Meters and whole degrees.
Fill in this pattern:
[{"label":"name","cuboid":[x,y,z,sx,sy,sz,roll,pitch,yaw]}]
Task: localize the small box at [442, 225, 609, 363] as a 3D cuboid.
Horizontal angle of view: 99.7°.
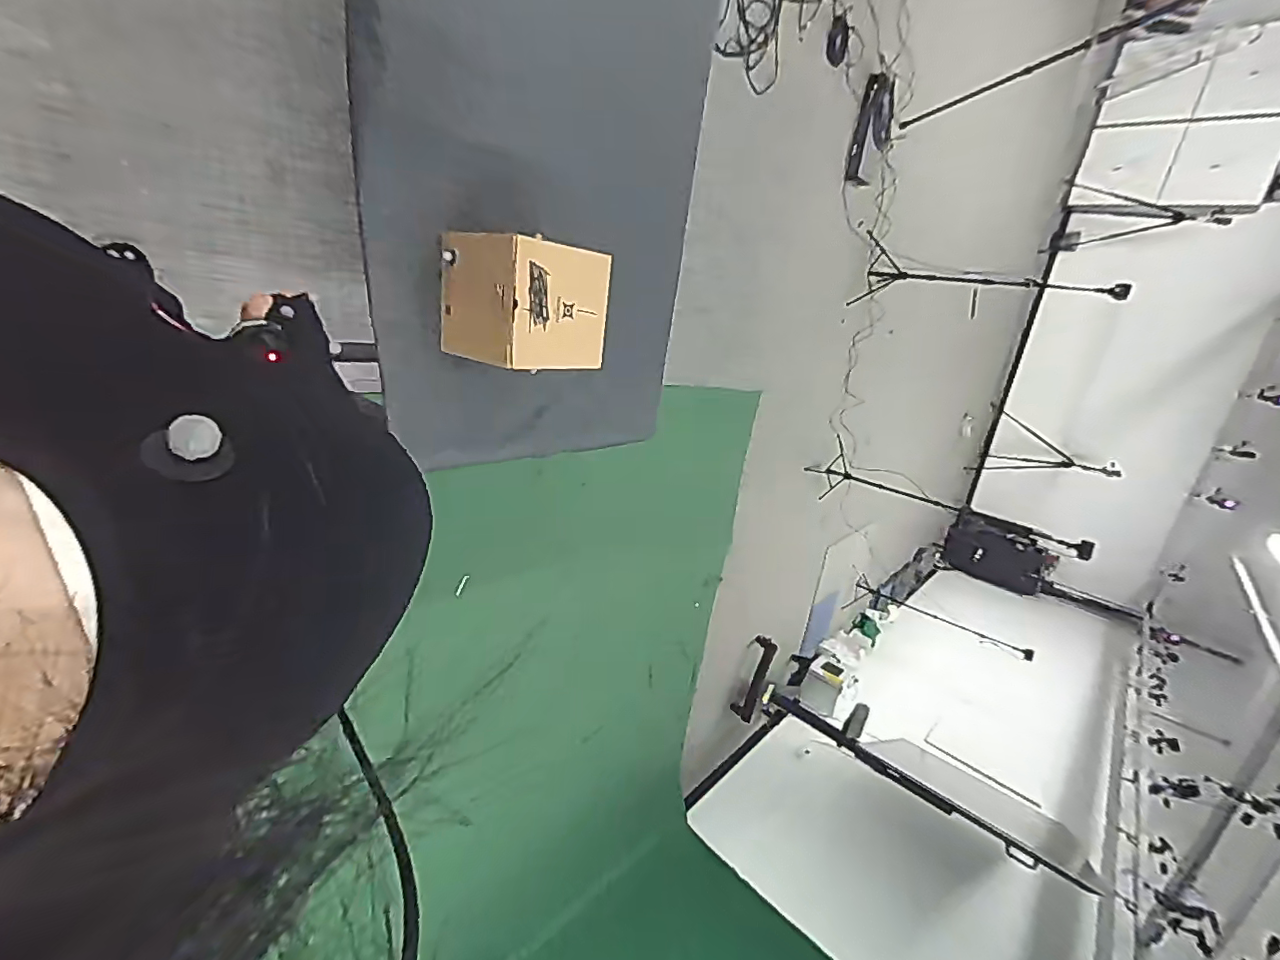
[{"label":"small box","cuboid":[-0.170,-0.267,0.791,0.179,0.176,0.168,-14,117,-49]}]
